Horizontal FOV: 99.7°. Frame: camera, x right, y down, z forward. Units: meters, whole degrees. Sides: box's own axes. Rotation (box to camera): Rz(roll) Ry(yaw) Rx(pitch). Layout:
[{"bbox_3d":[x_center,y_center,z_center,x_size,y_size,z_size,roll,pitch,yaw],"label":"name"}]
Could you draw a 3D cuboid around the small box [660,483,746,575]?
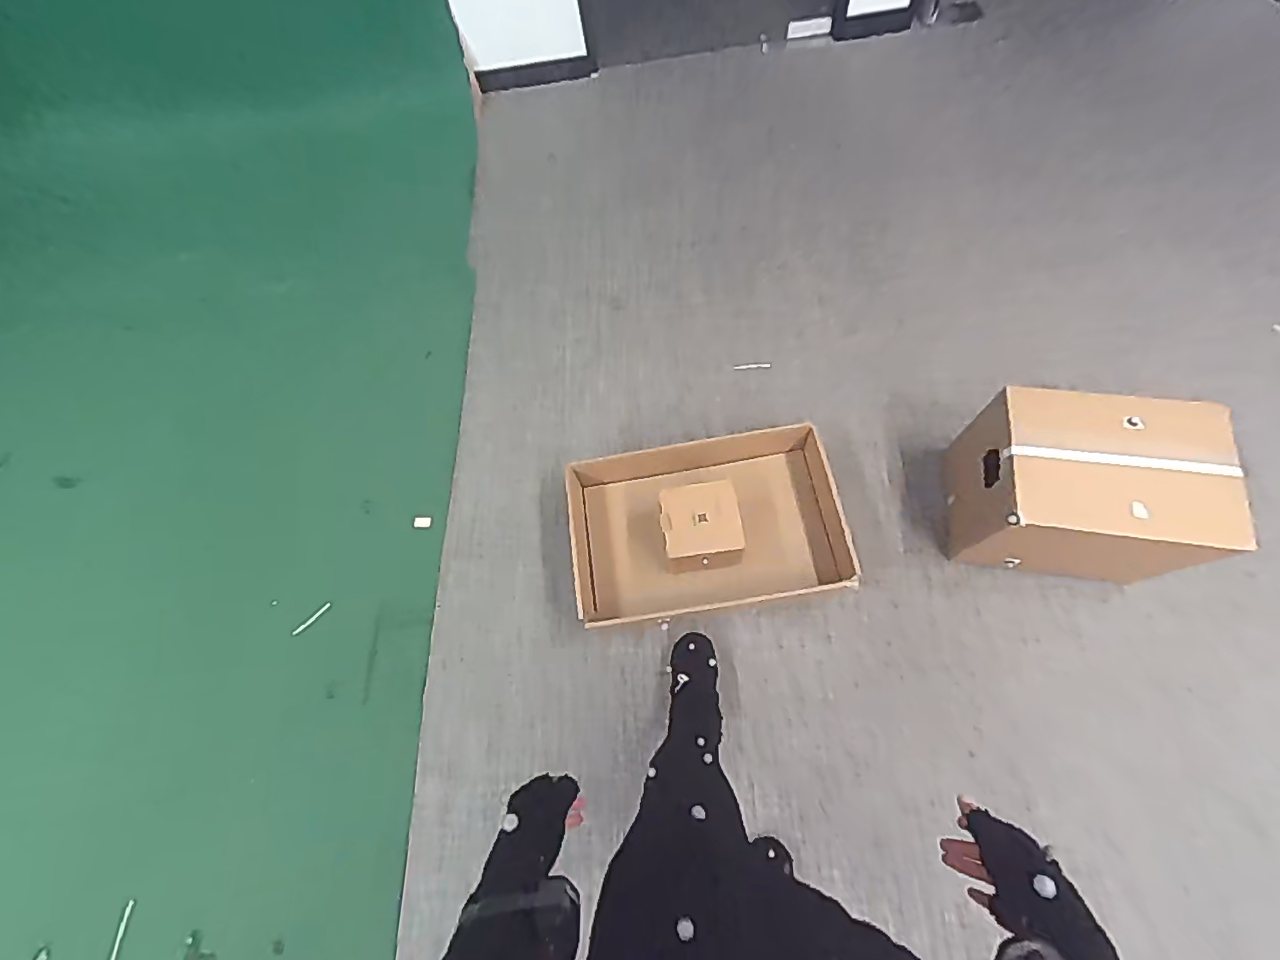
[{"bbox_3d":[0.148,0.124,1.291,0.179,0.176,0.168,-8,68,2],"label":"small box"}]
